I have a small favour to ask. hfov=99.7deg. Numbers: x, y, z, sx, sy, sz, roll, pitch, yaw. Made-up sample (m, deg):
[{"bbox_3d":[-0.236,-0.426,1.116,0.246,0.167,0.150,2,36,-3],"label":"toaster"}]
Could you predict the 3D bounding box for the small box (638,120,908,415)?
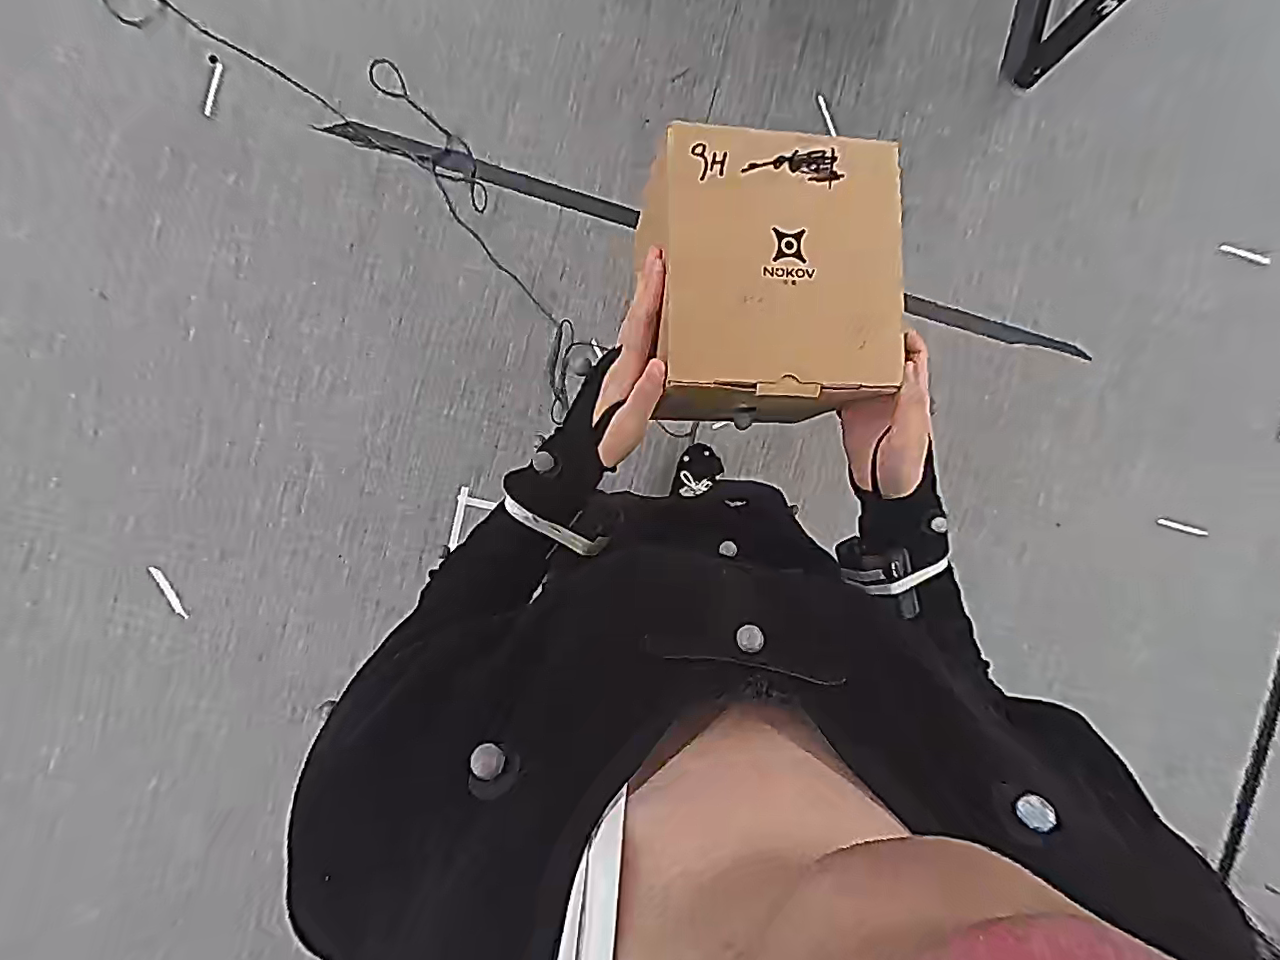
[{"bbox_3d":[0.091,-0.148,0.440,0.168,0.176,0.179,0,90,-8],"label":"small box"}]
